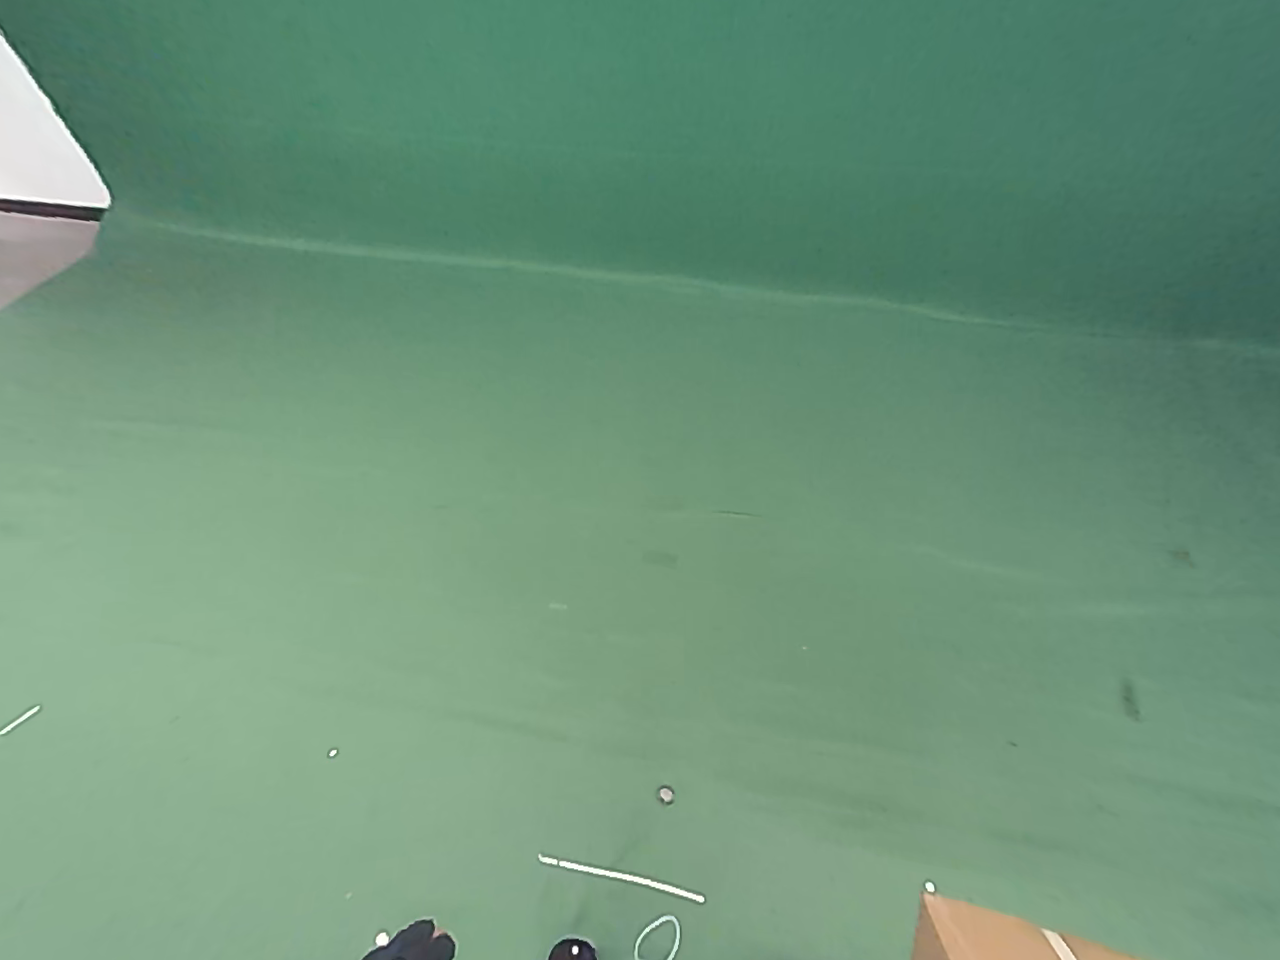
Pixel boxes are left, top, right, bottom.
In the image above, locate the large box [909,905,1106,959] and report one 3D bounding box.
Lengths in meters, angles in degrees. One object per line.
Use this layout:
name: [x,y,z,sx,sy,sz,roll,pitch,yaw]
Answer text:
large box: [0.474,0.765,0.540,0.320,0.408,0.320,12,89,12]
